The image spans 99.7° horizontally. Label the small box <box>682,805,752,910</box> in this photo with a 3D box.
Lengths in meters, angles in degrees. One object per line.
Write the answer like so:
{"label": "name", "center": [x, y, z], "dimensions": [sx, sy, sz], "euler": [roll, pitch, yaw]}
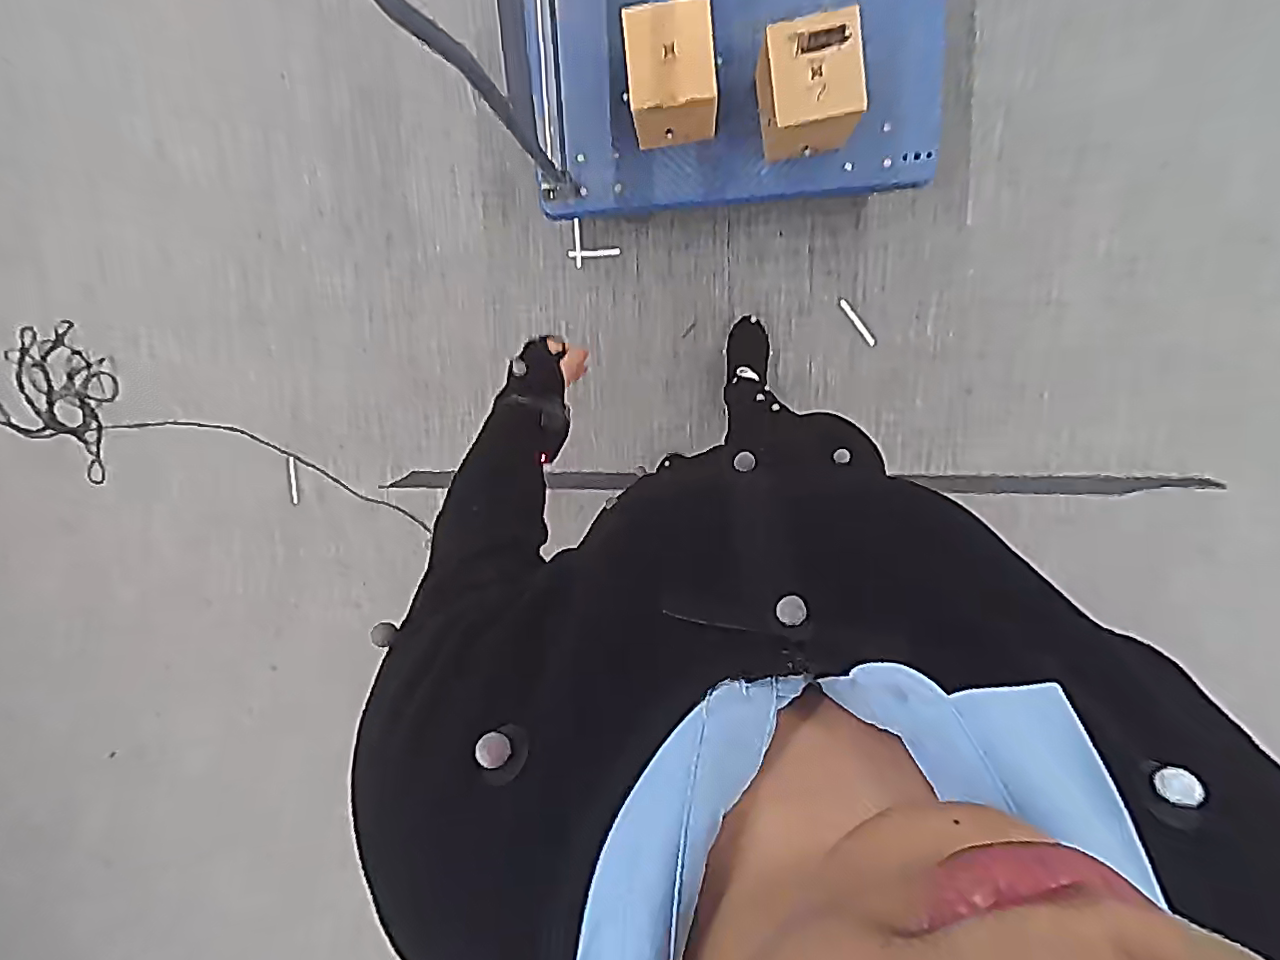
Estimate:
{"label": "small box", "center": [0.217, 1.078, 1.551], "dimensions": [0.168, 0.176, 0.179], "euler": [-12, 97, 6]}

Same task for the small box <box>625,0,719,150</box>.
{"label": "small box", "center": [0.065, -0.802, 1.086], "dimensions": [0.168, 0.176, 0.179], "euler": [-5, 99, 6]}
